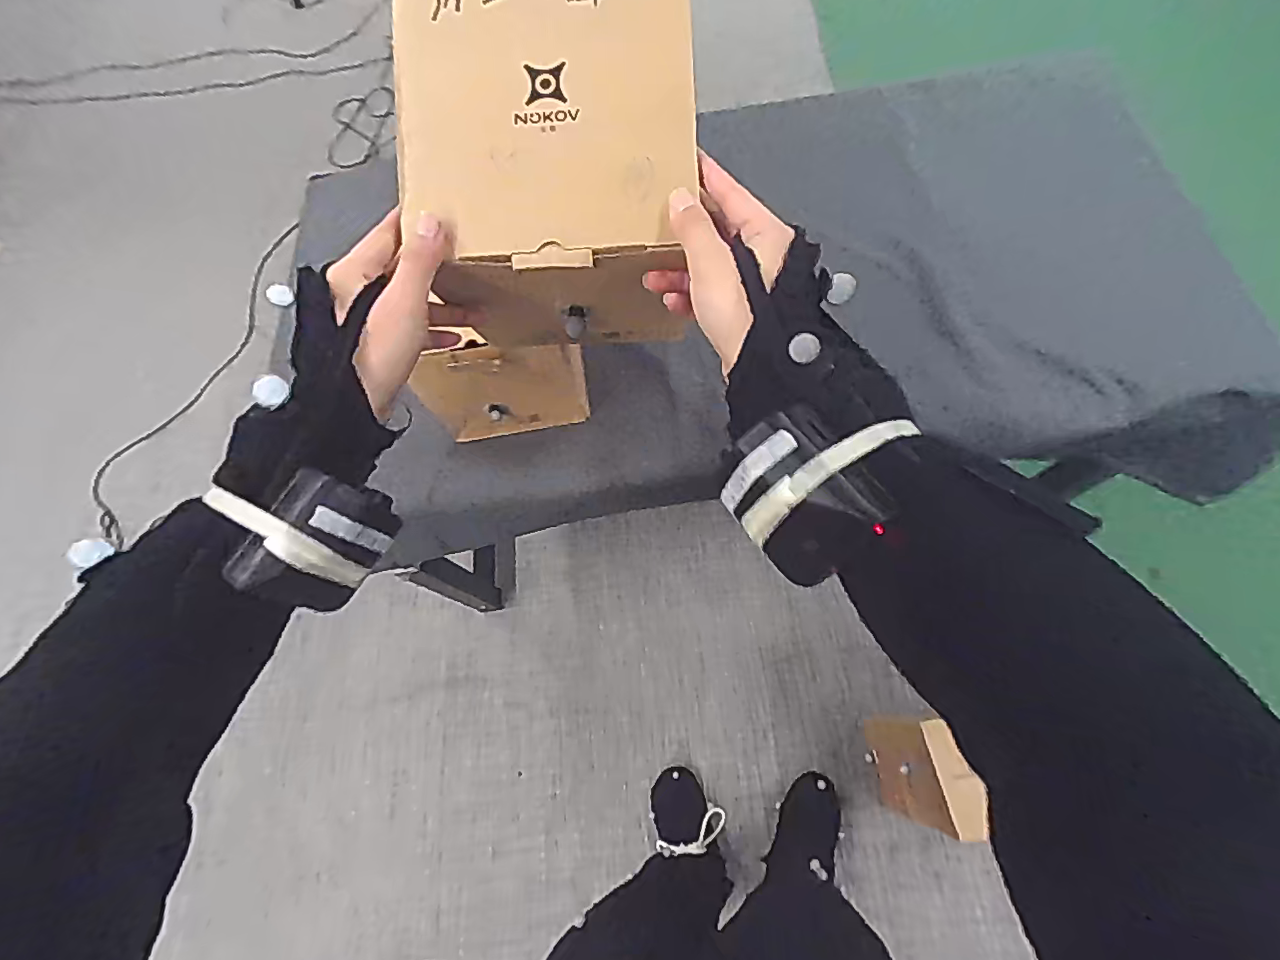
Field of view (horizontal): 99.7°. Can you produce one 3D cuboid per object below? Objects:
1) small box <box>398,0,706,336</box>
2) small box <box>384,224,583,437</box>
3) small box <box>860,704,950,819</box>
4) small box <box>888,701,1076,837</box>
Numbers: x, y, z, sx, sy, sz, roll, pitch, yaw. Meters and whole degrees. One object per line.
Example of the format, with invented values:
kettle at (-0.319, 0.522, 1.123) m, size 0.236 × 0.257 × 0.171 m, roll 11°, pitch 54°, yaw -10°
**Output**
small box at (-0.044, -0.203, 0.369) m, size 0.168 × 0.176 × 0.179 m, roll -3°, pitch 90°, yaw 2°
small box at (-0.165, -0.172, 0.612) m, size 0.168 × 0.176 × 0.179 m, roll -10°, pitch 67°, yaw 1°
small box at (0.551, 0.529, 1.036) m, size 0.179 × 0.176 × 0.168 m, roll -11°, pitch 65°, yaw 2°
small box at (0.542, 0.461, 0.886) m, size 0.179 × 0.176 × 0.168 m, roll -11°, pitch 66°, yaw 2°
